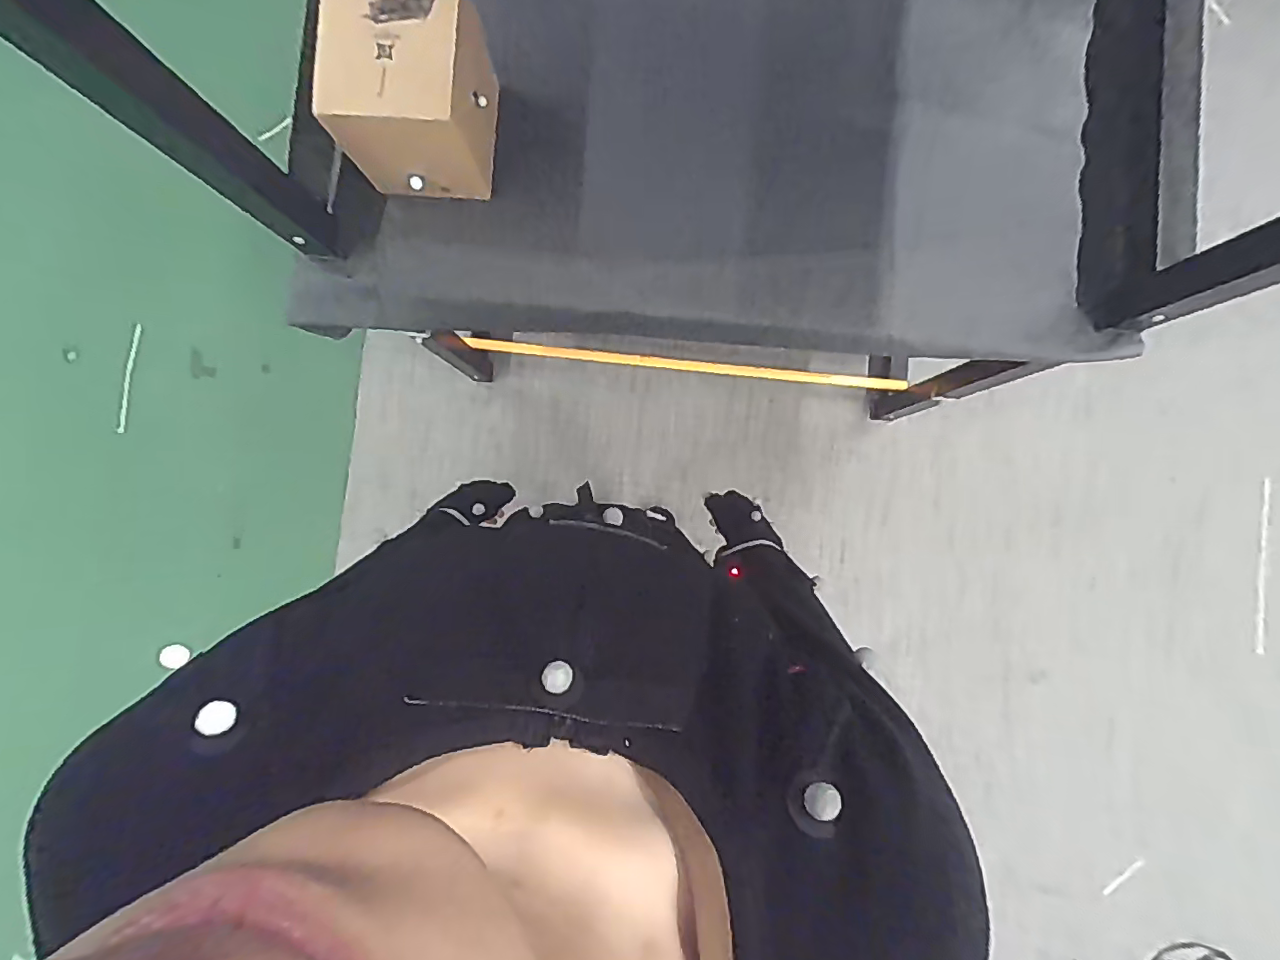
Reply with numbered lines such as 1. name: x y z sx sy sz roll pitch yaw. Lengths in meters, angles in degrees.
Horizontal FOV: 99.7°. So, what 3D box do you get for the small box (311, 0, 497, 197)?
1. small box: -0.292 -0.504 0.705 0.168 0.176 0.179 3 88 1
